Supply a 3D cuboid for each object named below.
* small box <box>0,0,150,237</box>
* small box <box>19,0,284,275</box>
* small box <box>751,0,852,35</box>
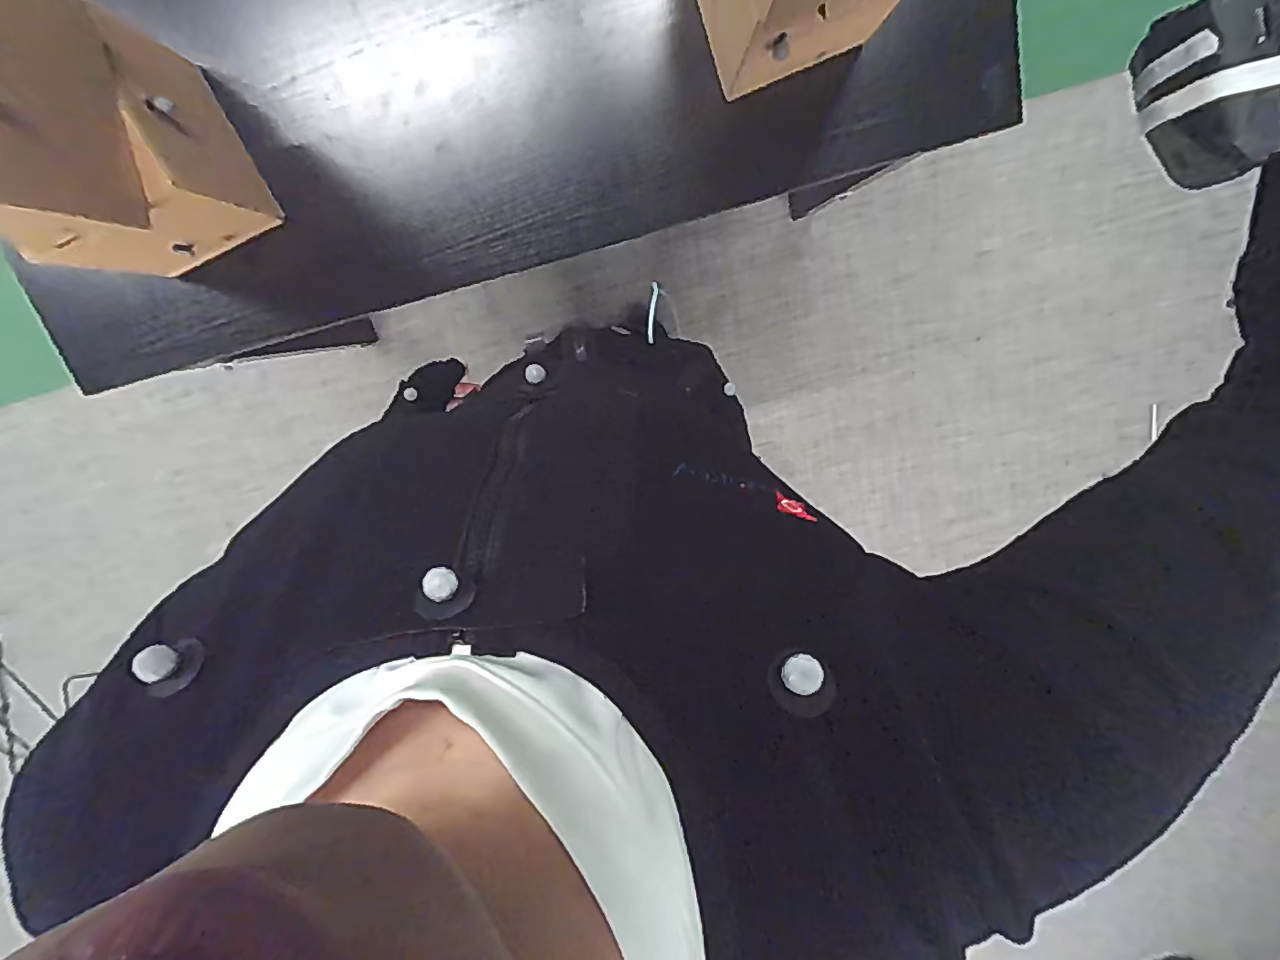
[{"bbox_3d":[-0.525,-0.281,0.399,0.168,0.176,0.179,-3,107,-1],"label":"small box"},{"bbox_3d":[-0.525,-0.330,0.556,0.168,0.176,0.179,-23,107,5],"label":"small box"},{"bbox_3d":[0.146,-0.459,0.356,0.168,0.176,0.179,-22,105,6],"label":"small box"}]
